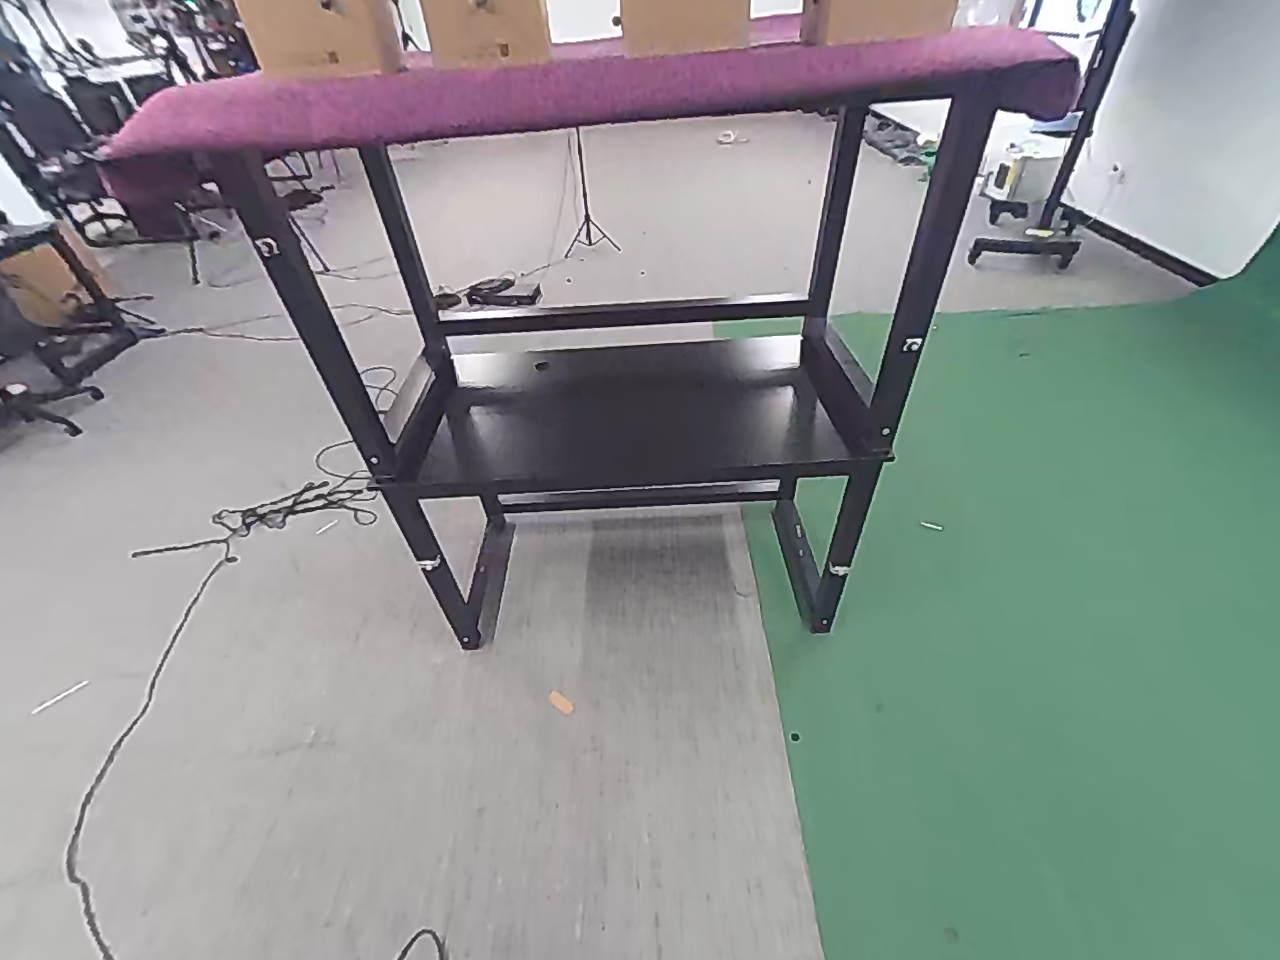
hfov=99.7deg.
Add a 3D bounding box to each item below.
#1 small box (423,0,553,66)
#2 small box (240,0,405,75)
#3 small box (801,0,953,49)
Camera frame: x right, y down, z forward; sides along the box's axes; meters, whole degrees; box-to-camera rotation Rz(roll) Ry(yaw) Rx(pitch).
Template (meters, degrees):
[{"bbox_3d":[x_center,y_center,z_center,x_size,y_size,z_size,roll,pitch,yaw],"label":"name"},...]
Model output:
[{"bbox_3d":[-0.222,-0.717,0.791,0.168,0.176,0.179,-5,41,-3],"label":"small box"},{"bbox_3d":[-0.462,-0.698,0.785,0.168,0.176,0.179,-6,40,-4],"label":"small box"},{"bbox_3d":[0.340,-0.727,0.760,0.179,0.176,0.168,-4,42,2],"label":"small box"}]
